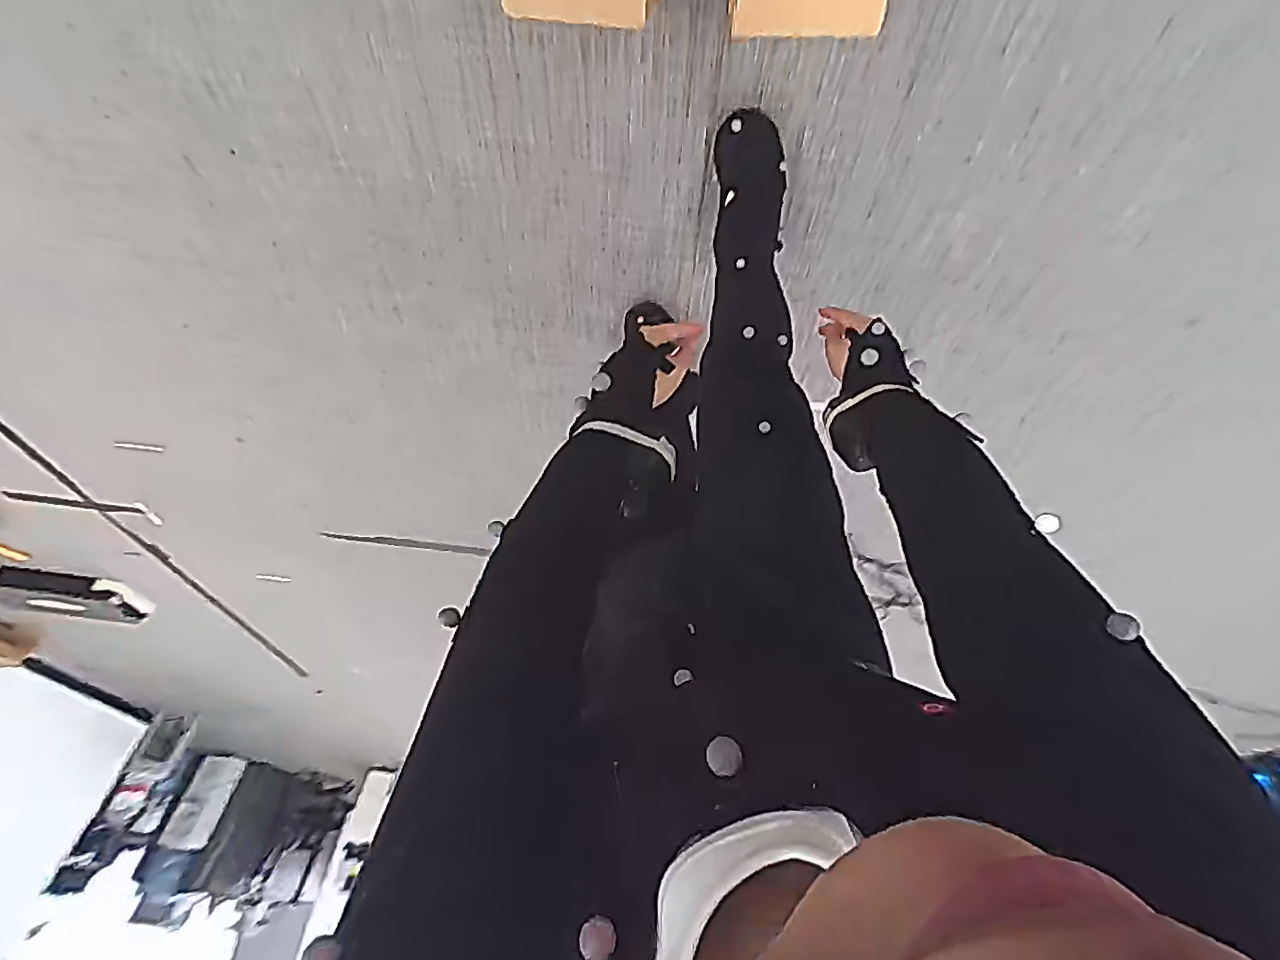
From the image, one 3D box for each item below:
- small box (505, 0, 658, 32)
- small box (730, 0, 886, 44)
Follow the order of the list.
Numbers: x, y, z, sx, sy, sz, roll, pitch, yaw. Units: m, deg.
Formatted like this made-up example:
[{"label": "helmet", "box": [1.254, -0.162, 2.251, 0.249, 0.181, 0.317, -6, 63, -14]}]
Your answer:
[{"label": "small box", "box": [-0.065, -0.667, 0.651, 0.179, 0.176, 0.168, 6, 140, 0]}, {"label": "small box", "box": [0.205, -0.645, 0.645, 0.179, 0.176, 0.168, 4, 140, 5]}]
